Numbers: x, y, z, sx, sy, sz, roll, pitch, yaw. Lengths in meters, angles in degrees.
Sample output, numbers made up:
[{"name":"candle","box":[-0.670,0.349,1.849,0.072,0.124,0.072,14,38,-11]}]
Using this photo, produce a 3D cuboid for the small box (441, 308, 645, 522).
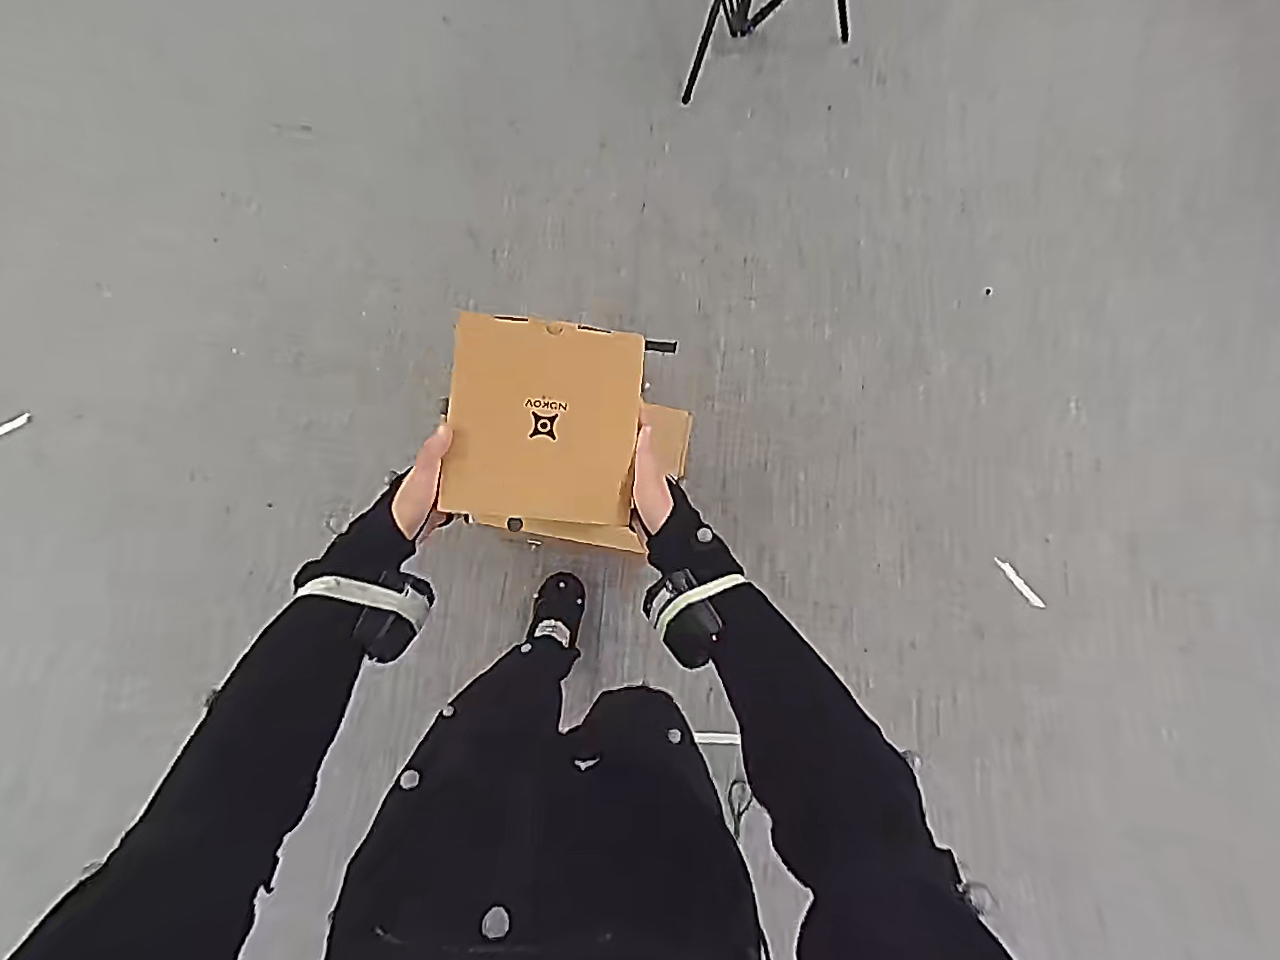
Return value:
[{"name":"small box","box":[-0.094,-0.052,0.554,0.168,0.176,0.179,5,85,-9]}]
